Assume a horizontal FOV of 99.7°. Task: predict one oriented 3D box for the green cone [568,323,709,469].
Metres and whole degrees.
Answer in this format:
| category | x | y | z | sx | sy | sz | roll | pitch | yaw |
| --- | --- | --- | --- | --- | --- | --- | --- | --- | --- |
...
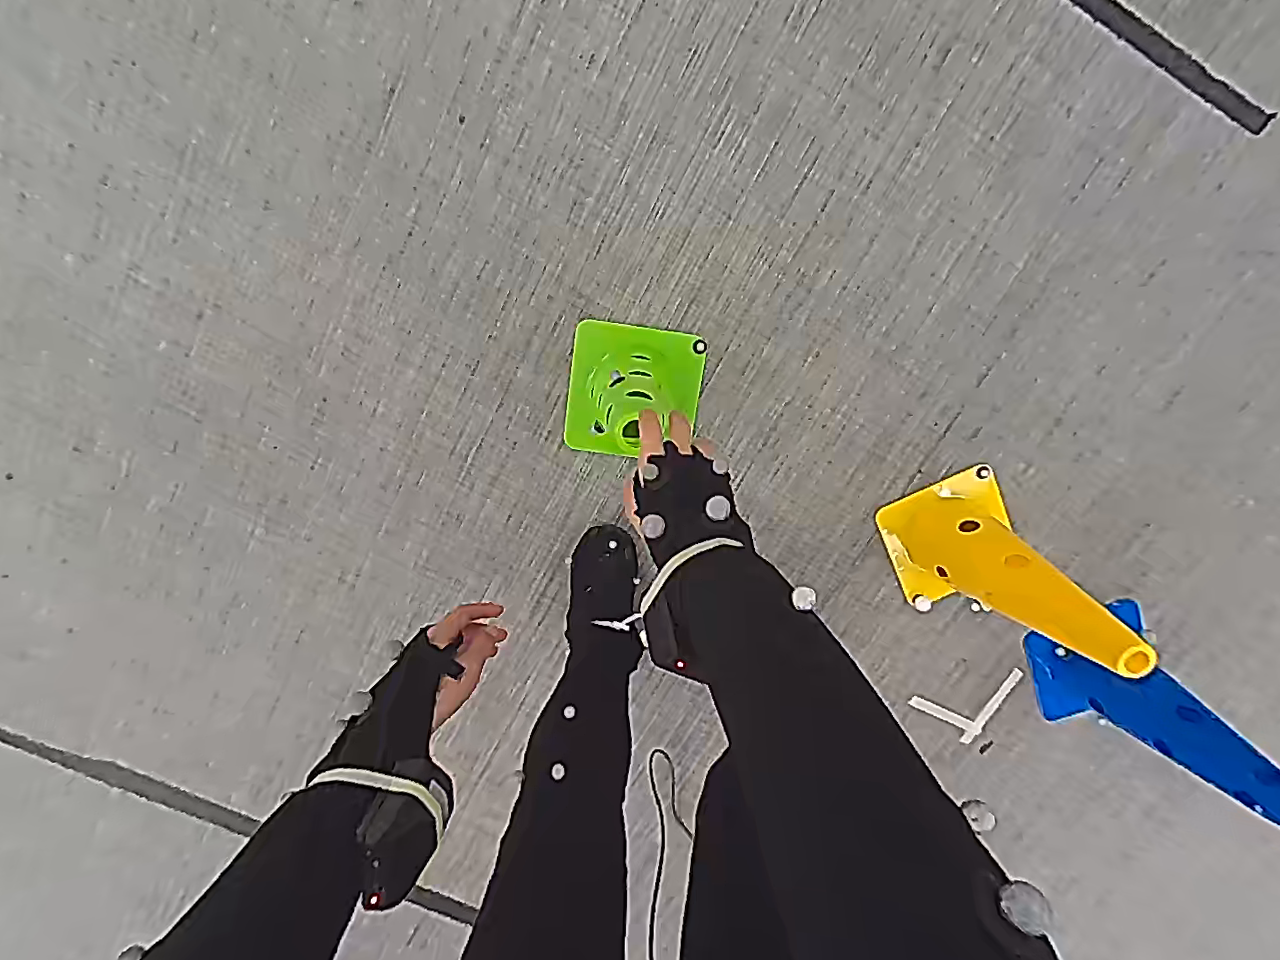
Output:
| category | x | y | z | sx | sy | sz | roll | pitch | yaw |
| --- | --- | --- | --- | --- | --- | --- | --- | --- | --- |
| green cone | -0.005 | -0.082 | 0.662 | 0.200 | 0.368 | 0.202 | 7 | 105 | -2 |
